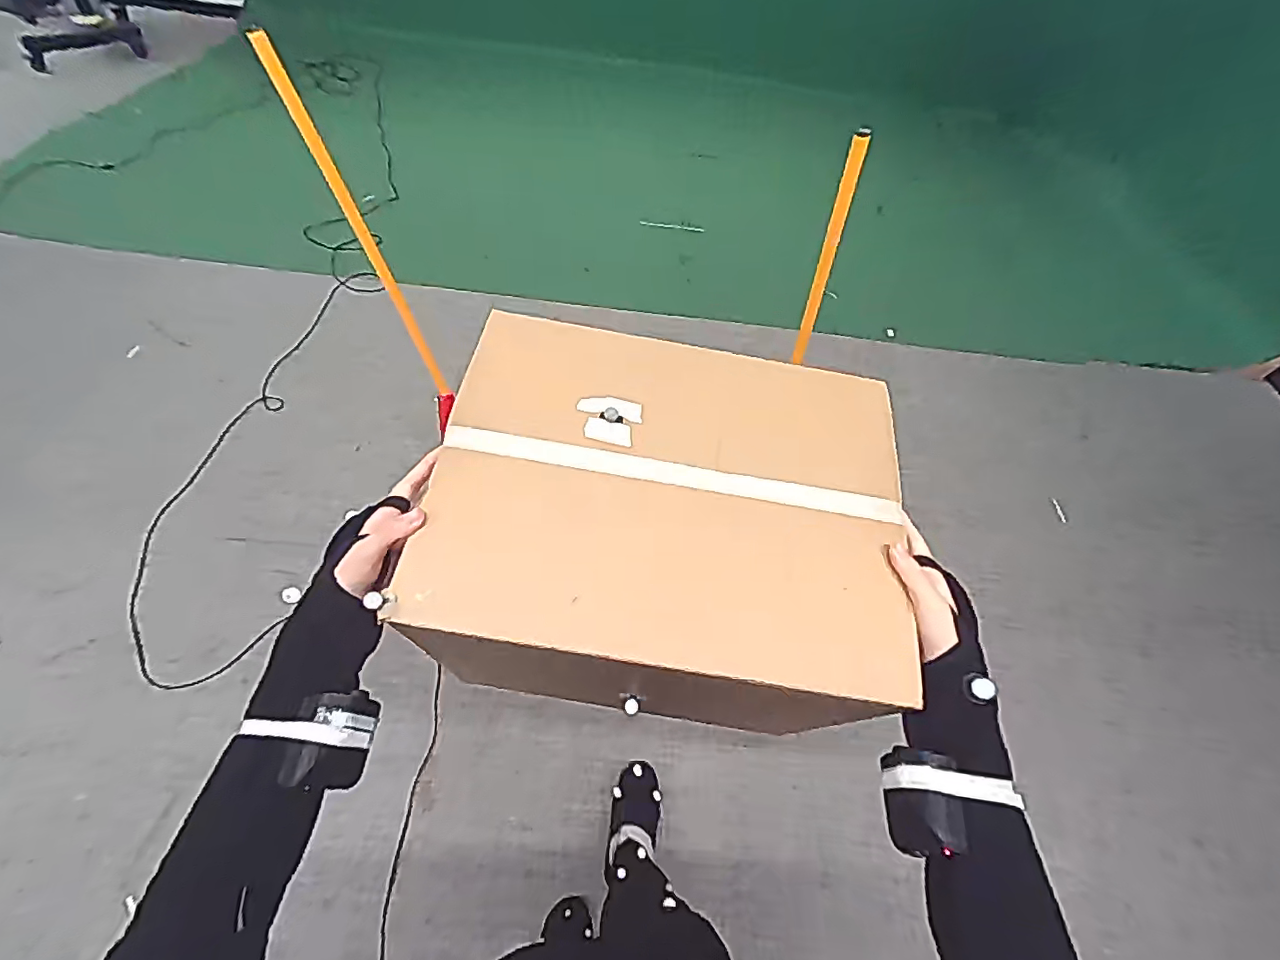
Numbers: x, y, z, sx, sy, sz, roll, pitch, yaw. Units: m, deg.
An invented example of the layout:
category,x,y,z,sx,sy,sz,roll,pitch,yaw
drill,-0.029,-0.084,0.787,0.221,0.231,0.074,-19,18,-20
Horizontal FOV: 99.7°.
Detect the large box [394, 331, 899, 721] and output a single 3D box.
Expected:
category,x,y,z,sx,sy,sz,roll,pitch,yaw
large box,0.014,0.077,0.616,0.408,0.320,0.320,9,61,-1
